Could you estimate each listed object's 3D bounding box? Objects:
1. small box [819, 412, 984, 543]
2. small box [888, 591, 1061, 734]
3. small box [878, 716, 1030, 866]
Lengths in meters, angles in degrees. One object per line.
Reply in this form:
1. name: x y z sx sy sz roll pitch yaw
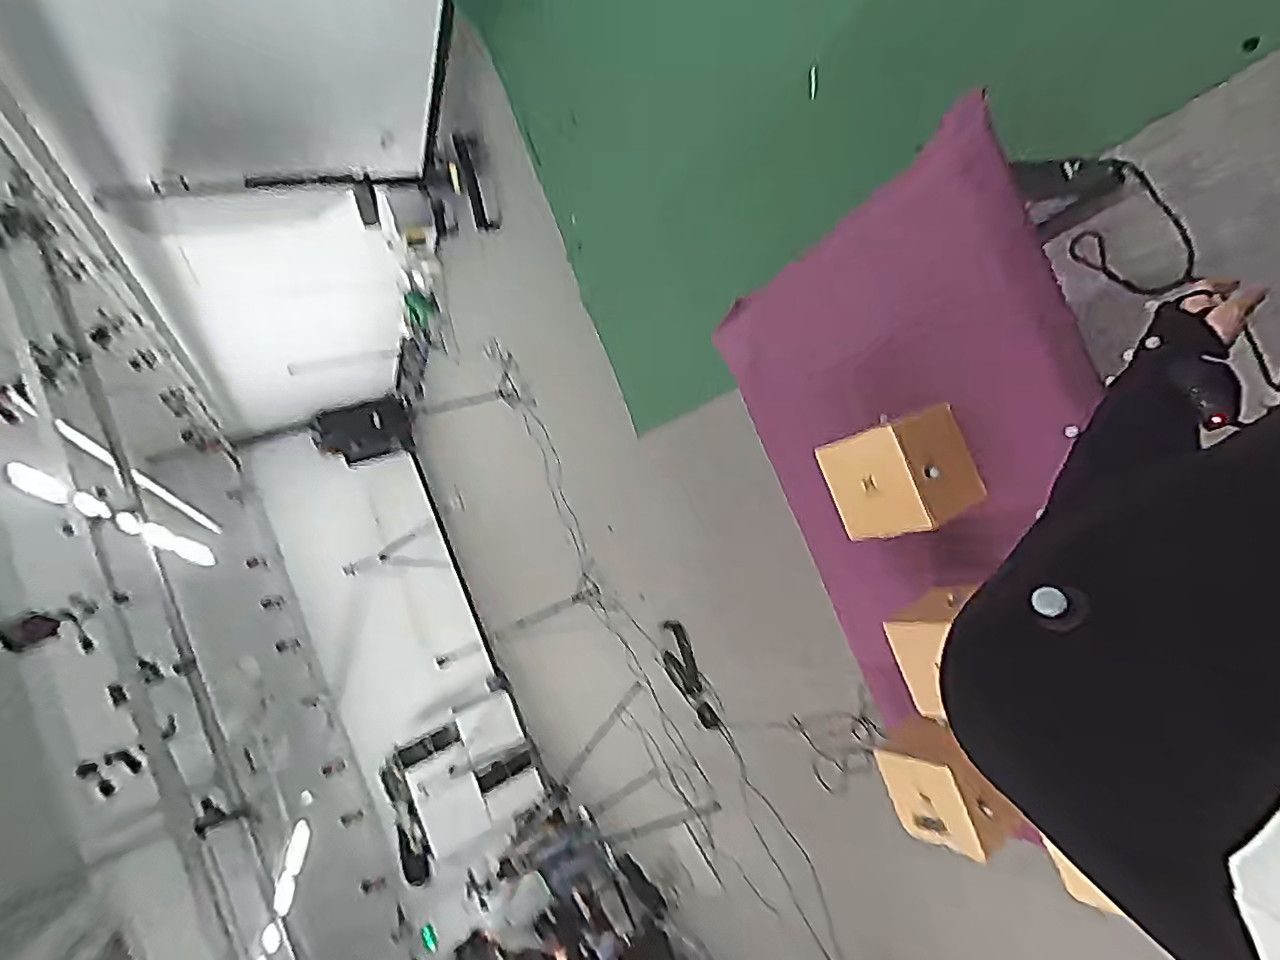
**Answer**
1. small box: 0.457 -0.008 0.948 0.168 0.176 0.179 -26 86 60
2. small box: 0.575 0.300 0.934 0.168 0.176 0.179 -27 84 61
3. small box: 0.610 0.585 1.049 0.168 0.176 0.179 -28 83 60
